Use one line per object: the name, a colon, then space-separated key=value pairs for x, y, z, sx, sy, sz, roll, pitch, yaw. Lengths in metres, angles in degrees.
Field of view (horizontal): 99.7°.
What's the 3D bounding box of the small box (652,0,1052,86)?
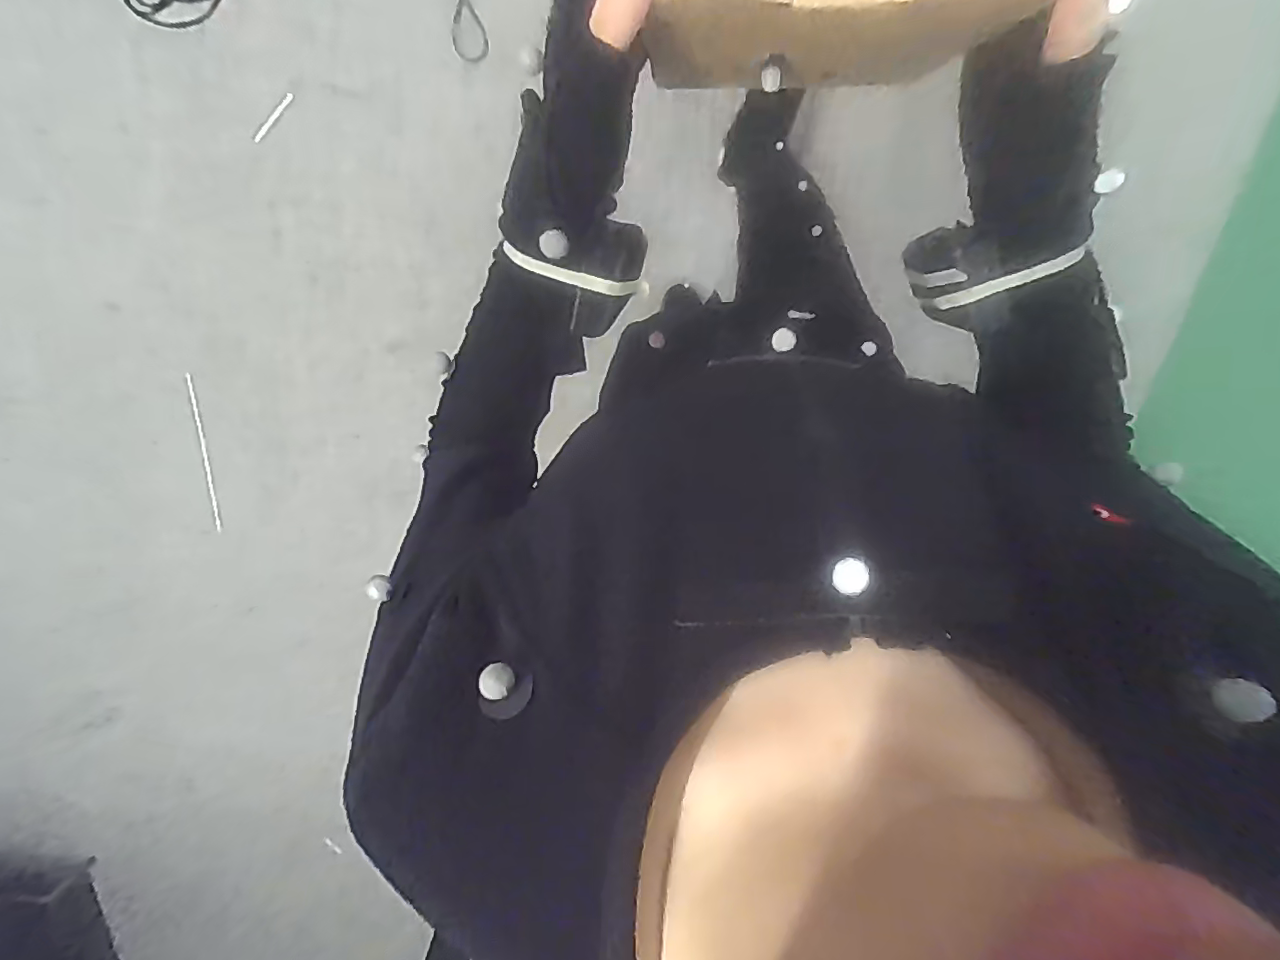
small box: x=0.088 y=-0.295 z=0.234 sx=0.168 sy=0.176 sz=0.179 roll=2 pitch=117 yaw=4
